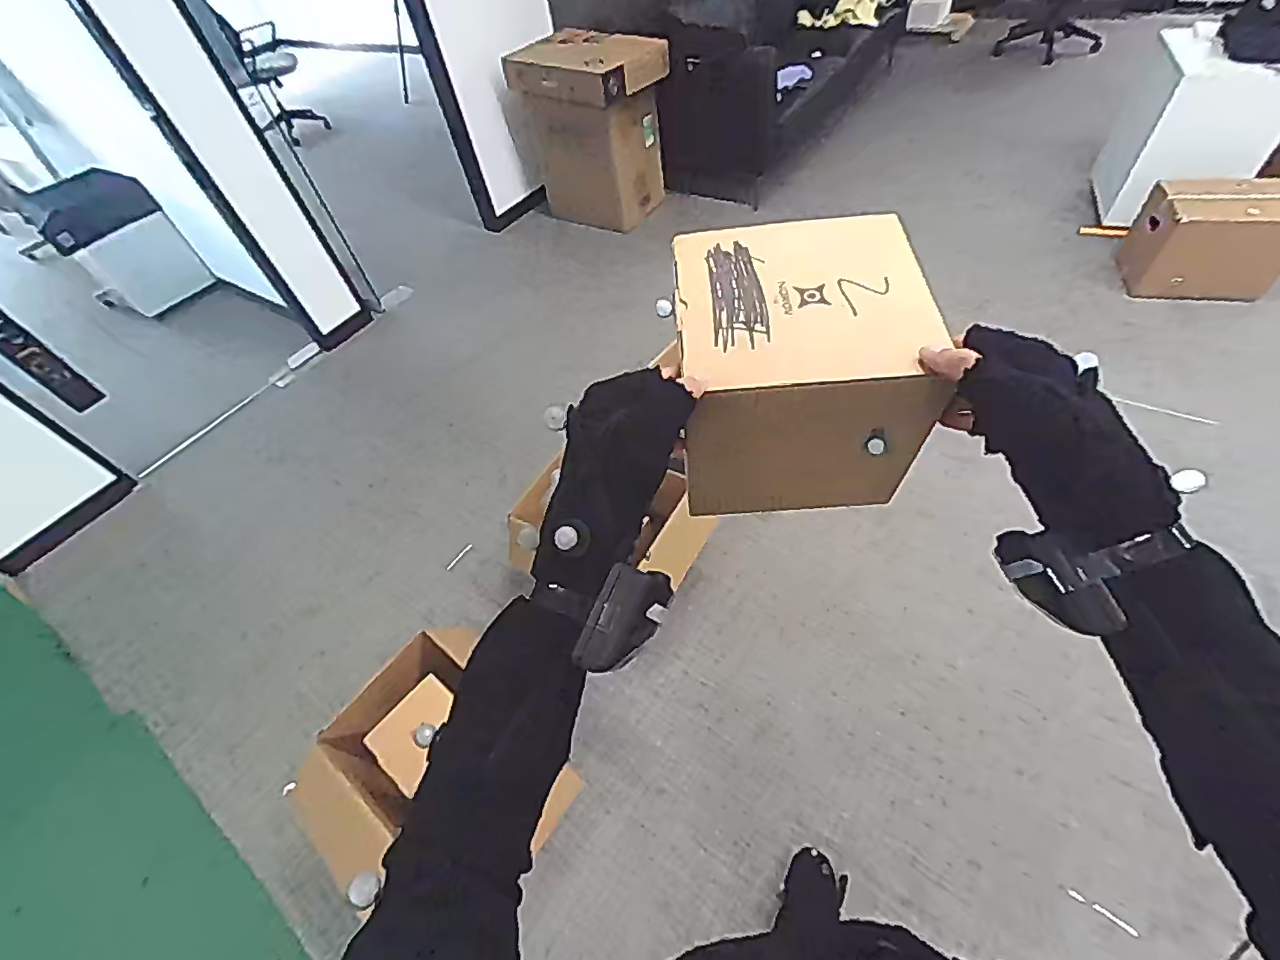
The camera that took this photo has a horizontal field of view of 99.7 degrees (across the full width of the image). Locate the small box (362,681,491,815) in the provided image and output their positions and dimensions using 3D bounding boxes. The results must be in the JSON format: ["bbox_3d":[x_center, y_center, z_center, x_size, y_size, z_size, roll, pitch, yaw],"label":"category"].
[{"bbox_3d":[-0.440,0.573,1.154,0.168,0.176,0.179,29,59,29],"label":"small box"}]
